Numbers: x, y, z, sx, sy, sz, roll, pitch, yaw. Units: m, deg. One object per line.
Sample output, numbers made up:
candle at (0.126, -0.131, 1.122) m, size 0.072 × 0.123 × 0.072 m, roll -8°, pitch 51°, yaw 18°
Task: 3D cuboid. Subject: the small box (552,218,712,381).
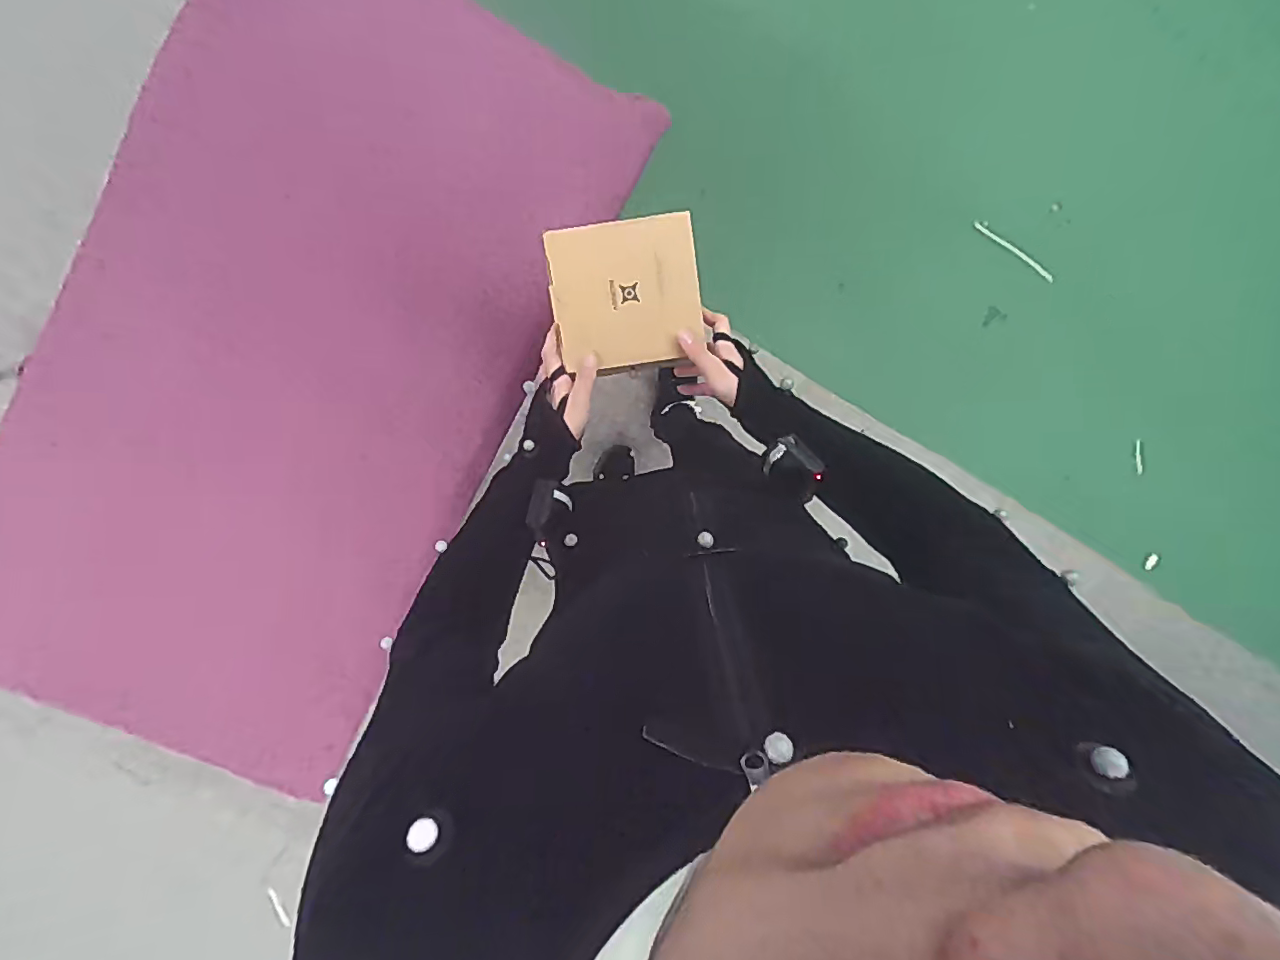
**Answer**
small box at (-0.008, -0.224, 0.713) m, size 0.179 × 0.176 × 0.168 m, roll -7°, pitch 99°, yaw 0°
